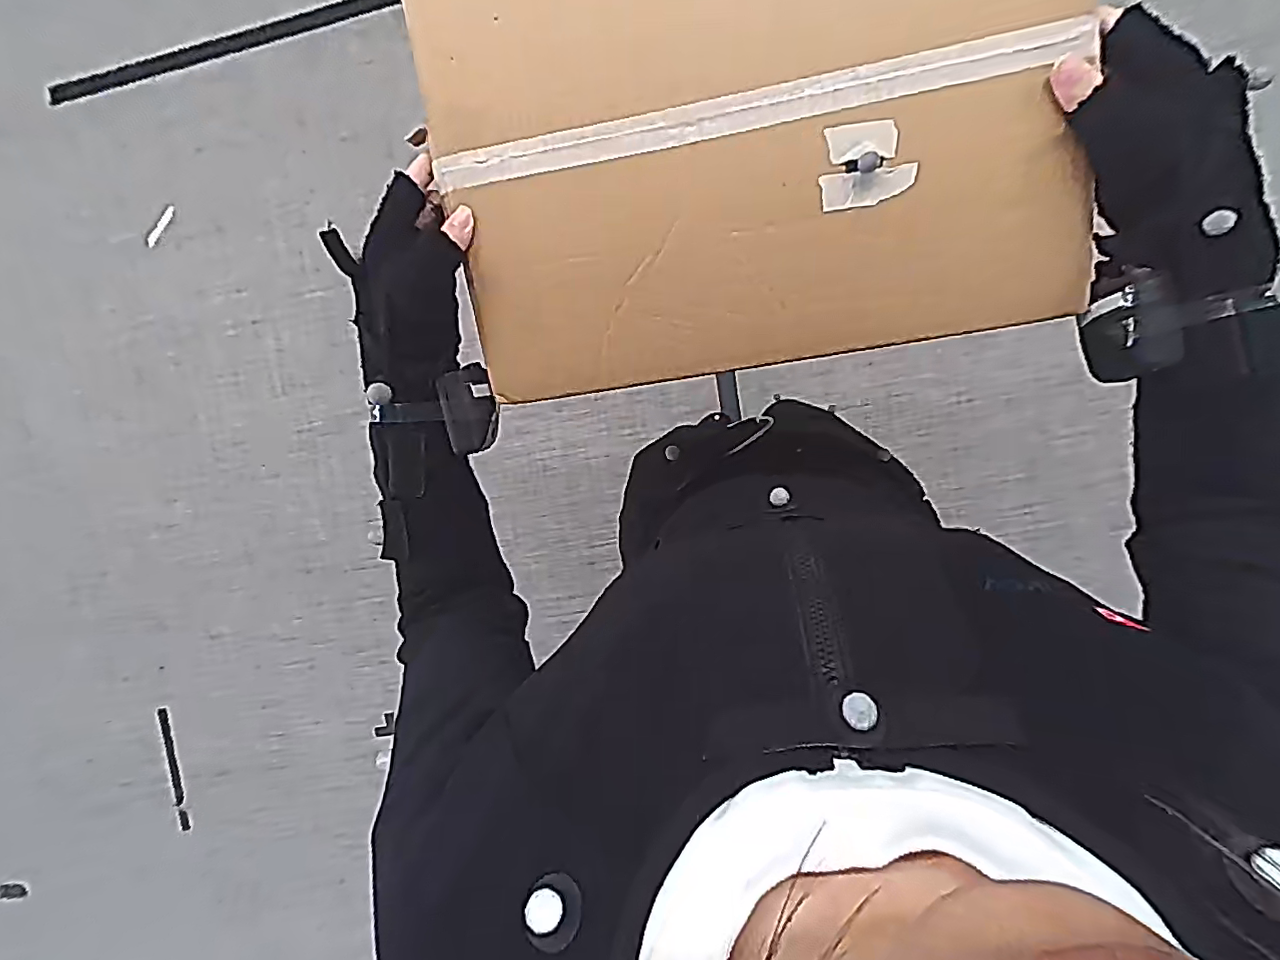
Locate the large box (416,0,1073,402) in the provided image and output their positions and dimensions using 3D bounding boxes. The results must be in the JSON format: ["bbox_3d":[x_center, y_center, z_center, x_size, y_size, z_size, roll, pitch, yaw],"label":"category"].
[{"bbox_3d":[0.077,-0.272,0.497,0.408,0.320,0.320,-9,104,5],"label":"large box"}]
